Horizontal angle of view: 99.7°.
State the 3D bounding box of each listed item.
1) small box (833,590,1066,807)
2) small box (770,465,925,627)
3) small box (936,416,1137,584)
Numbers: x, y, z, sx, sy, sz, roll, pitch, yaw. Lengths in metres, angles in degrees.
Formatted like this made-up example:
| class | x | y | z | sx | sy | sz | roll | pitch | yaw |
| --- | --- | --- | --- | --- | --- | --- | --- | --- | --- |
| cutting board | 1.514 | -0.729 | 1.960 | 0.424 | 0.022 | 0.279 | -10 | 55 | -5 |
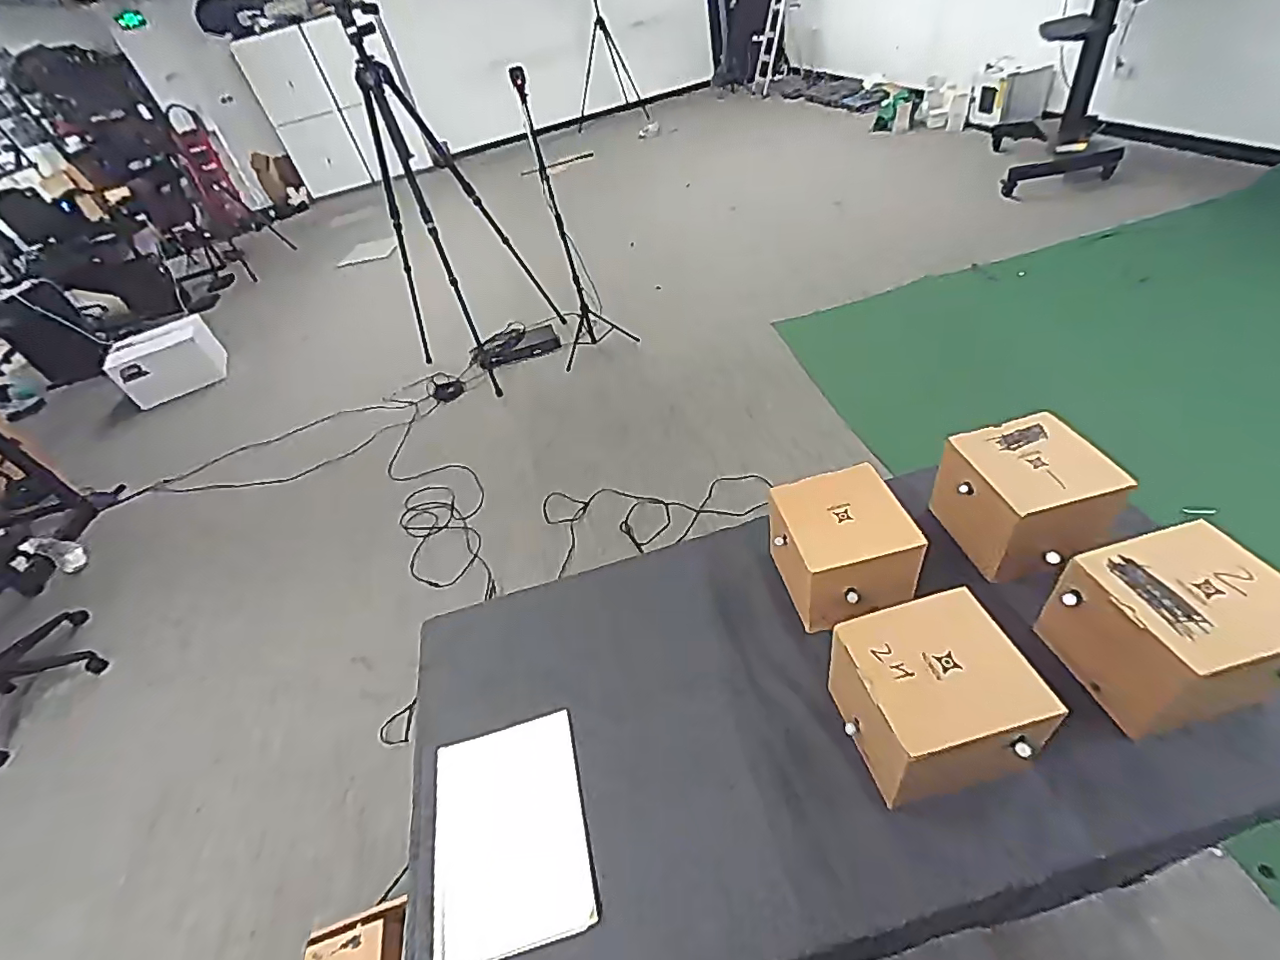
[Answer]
| class | x | y | z | sx | sy | sz | roll | pitch | yaw |
| --- | --- | --- | --- | --- | --- | --- | --- | --- | --- |
| small box | 0.353 | 0.267 | 0.661 | 0.179 | 0.176 | 0.168 | -16 | 41 | 0 |
| small box | 0.313 | 0.110 | 0.845 | 0.168 | 0.176 | 0.179 | -15 | 42 | 1 |
| small box | 0.592 | 0.032 | 0.842 | 0.168 | 0.176 | 0.179 | -15 | 43 | 1 |
